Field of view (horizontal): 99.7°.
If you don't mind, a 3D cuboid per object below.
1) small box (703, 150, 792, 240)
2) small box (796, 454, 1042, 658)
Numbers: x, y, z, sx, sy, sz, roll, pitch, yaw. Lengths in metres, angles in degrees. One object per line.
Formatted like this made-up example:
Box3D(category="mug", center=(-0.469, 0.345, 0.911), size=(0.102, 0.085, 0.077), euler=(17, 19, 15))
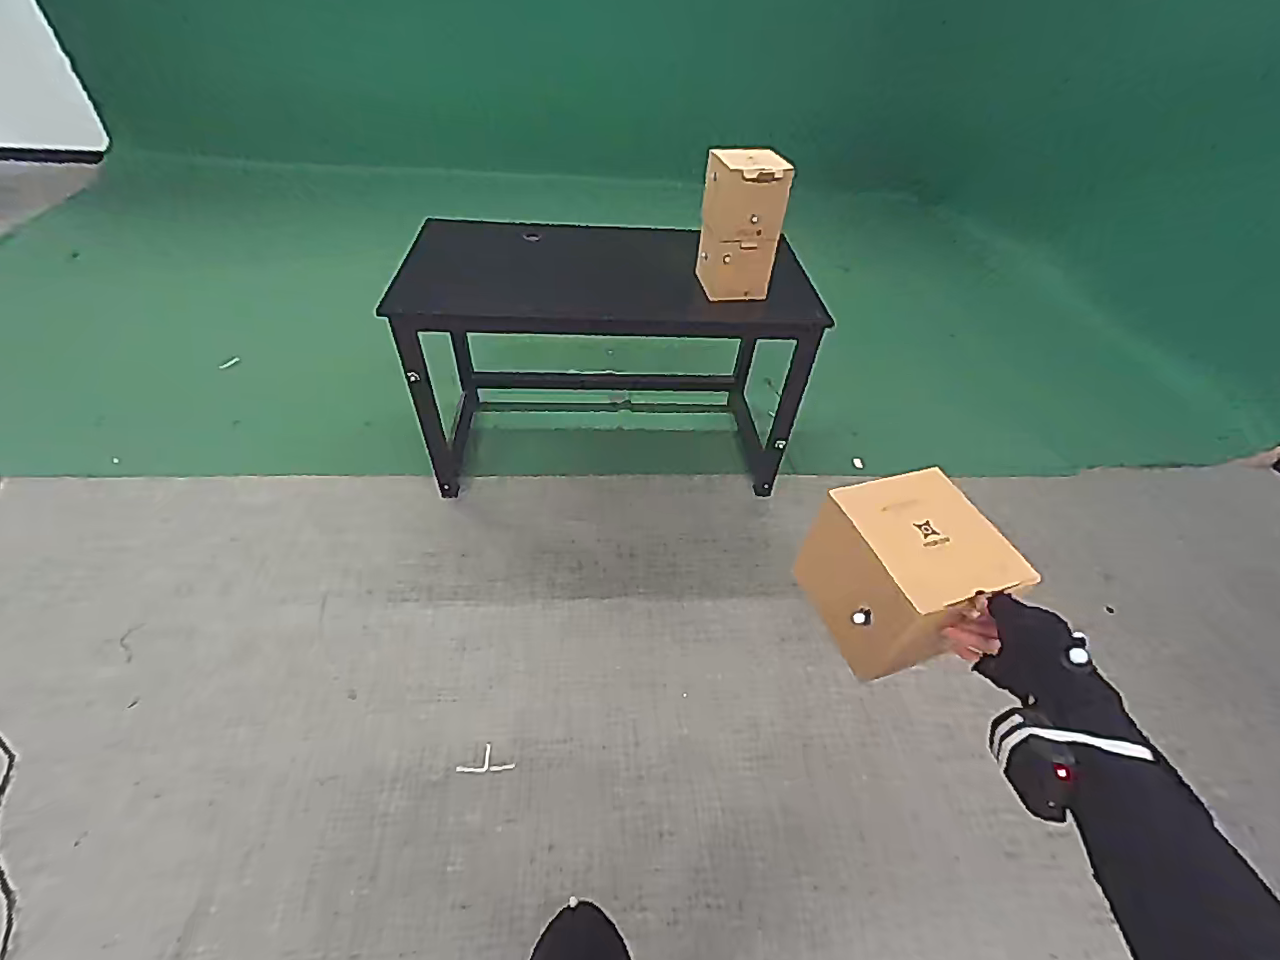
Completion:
Box3D(category="small box", center=(0.268, -0.739, 1.404), size=(0.168, 0.176, 0.179), euler=(-6, 47, -10))
Box3D(category="small box", center=(0.320, 0.098, 0.663), size=(0.168, 0.176, 0.179), euler=(-11, 49, -15))
